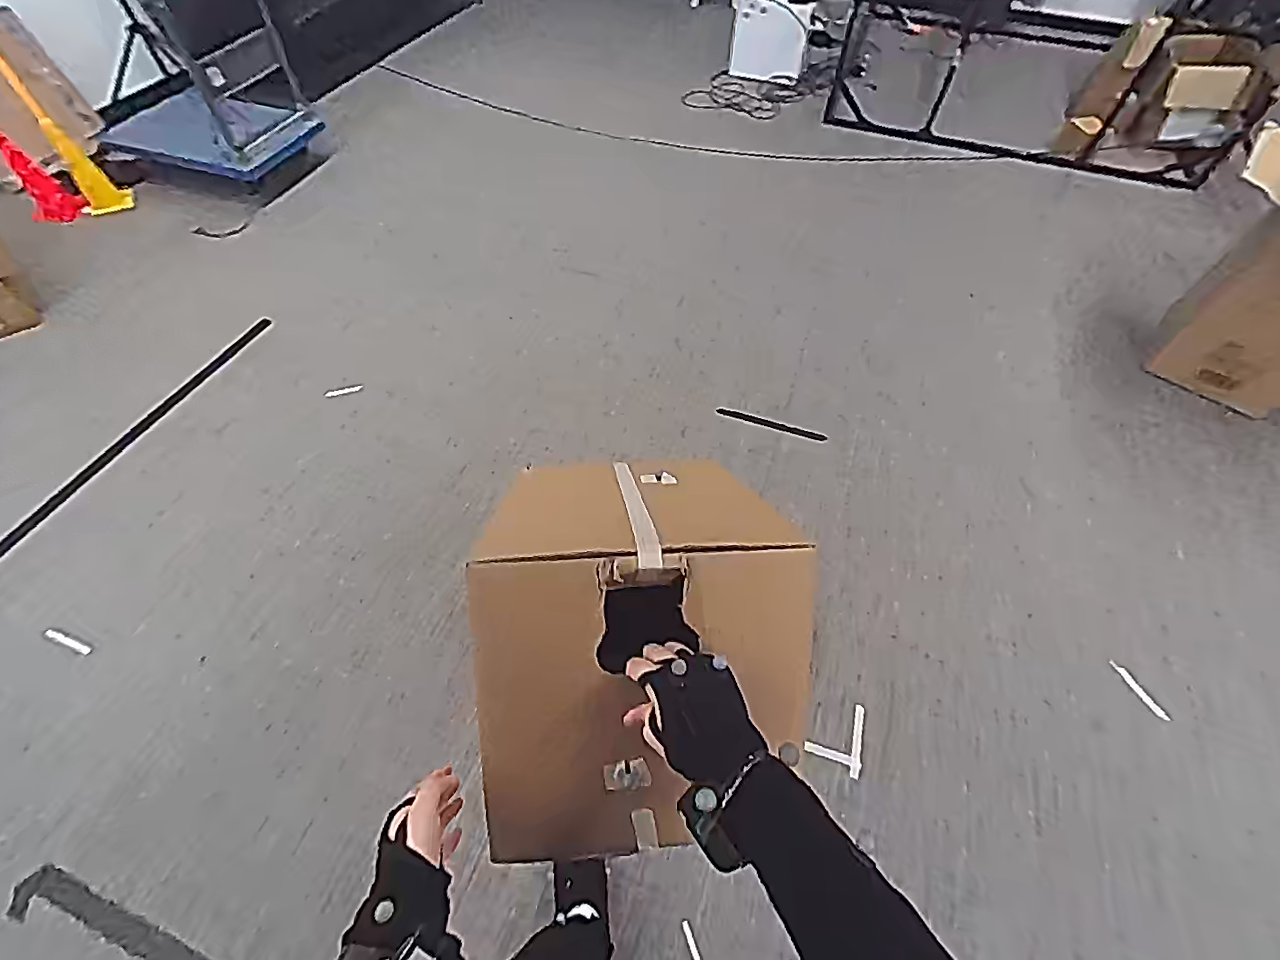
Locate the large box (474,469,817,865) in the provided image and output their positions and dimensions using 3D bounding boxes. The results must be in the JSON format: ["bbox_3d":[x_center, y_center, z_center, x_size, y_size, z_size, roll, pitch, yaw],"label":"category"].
[{"bbox_3d":[-0.006,0.177,0.686,0.320,0.320,0.408,-1,11,-5],"label":"large box"}]
